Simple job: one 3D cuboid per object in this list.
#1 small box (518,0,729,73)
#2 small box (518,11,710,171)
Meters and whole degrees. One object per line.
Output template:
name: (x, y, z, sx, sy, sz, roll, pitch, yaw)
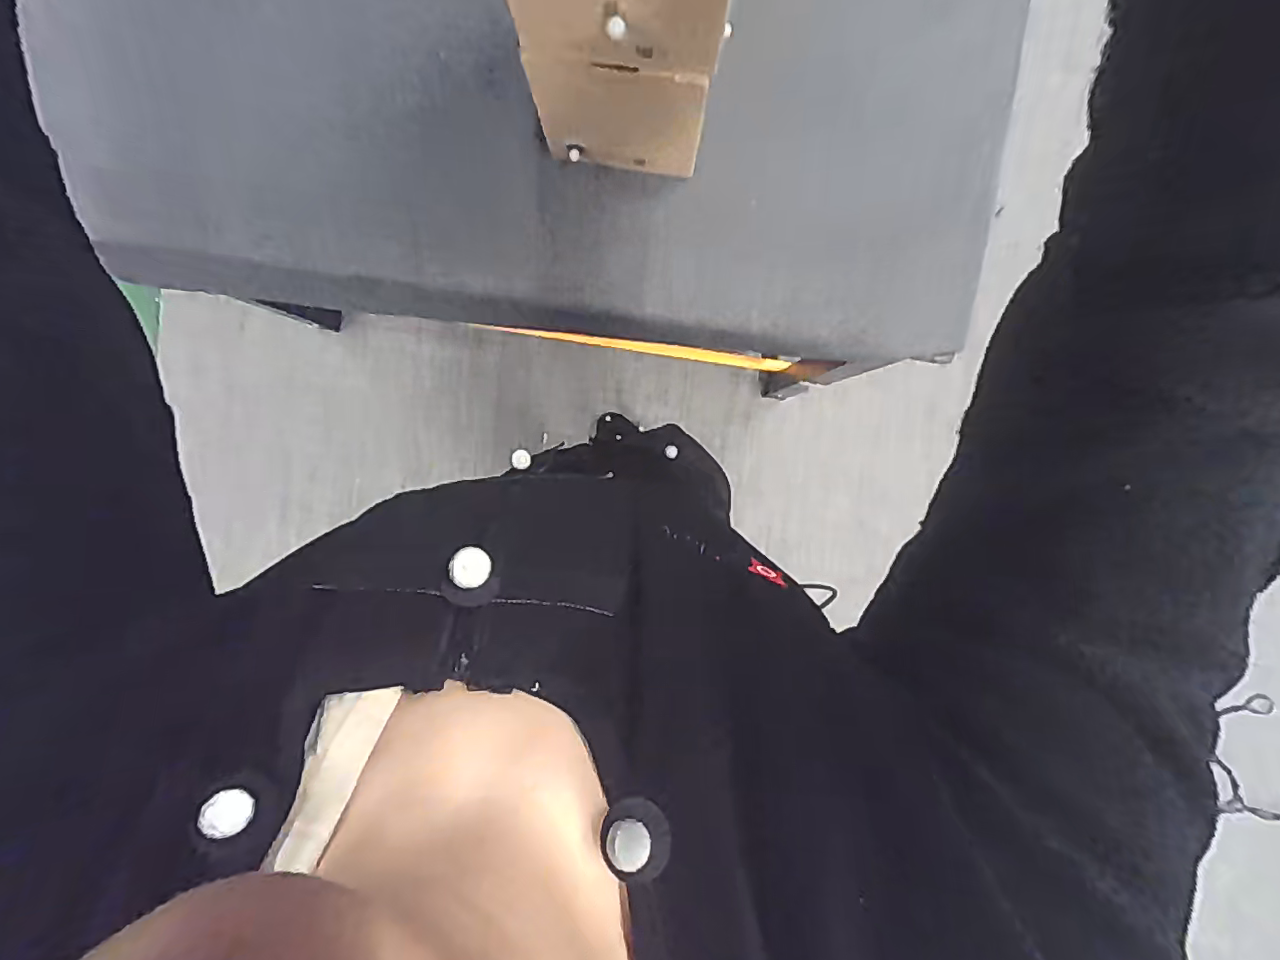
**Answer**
small box: (-0.008, -0.431, 0.368, 0.168, 0.176, 0.179, 6, 94, 0)
small box: (-0.010, -0.439, 0.533, 0.168, 0.176, 0.179, 9, 93, -1)
